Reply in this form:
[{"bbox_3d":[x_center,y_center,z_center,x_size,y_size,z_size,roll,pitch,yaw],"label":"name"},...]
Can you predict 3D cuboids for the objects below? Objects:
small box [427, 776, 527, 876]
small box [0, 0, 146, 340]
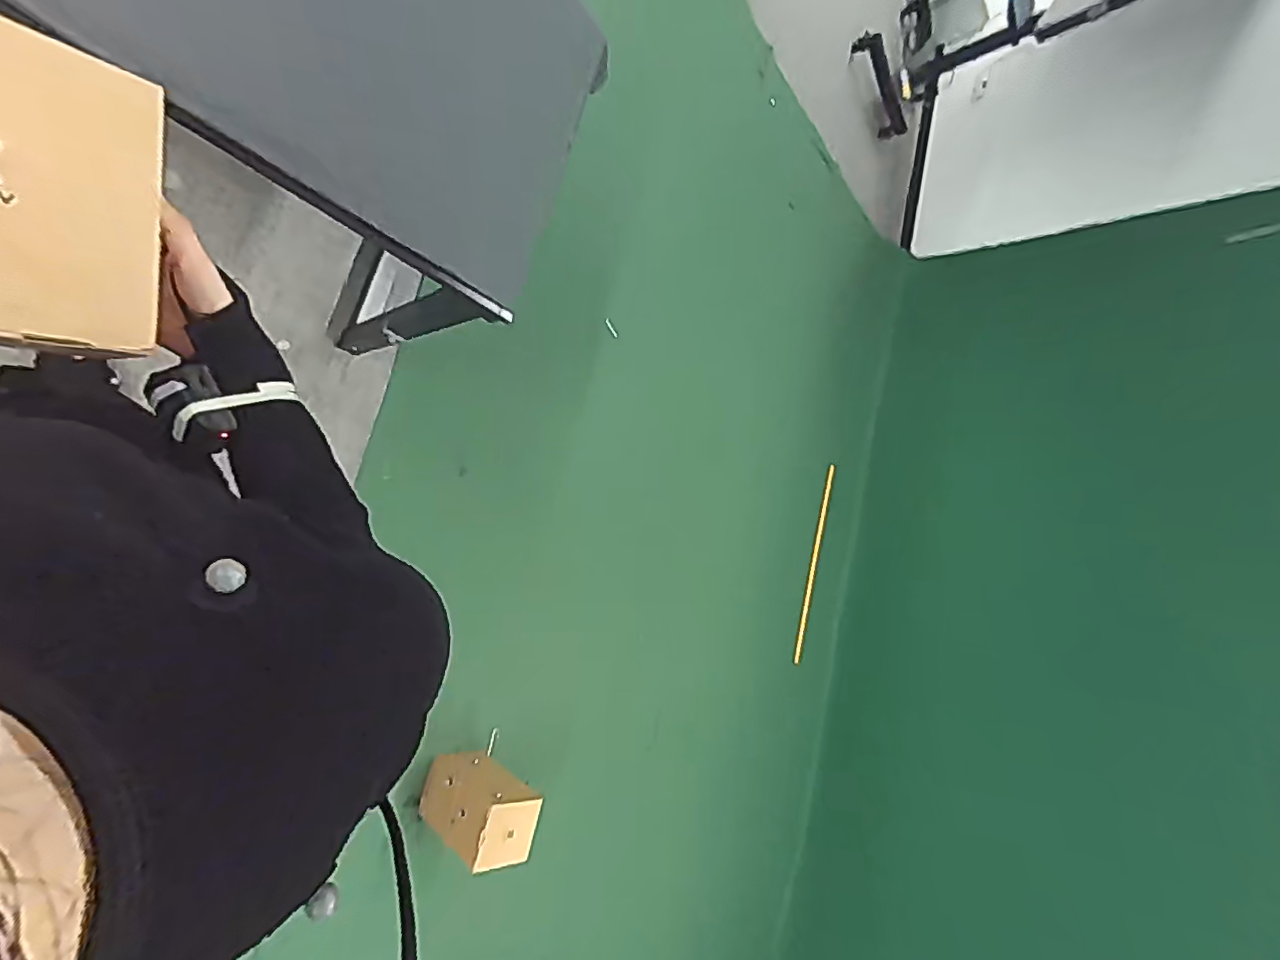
[{"bbox_3d":[-0.448,0.936,1.483,0.179,0.176,0.168,25,76,-45],"label":"small box"},{"bbox_3d":[-0.431,-0.190,0.325,0.168,0.176,0.179,1,97,-53],"label":"small box"}]
